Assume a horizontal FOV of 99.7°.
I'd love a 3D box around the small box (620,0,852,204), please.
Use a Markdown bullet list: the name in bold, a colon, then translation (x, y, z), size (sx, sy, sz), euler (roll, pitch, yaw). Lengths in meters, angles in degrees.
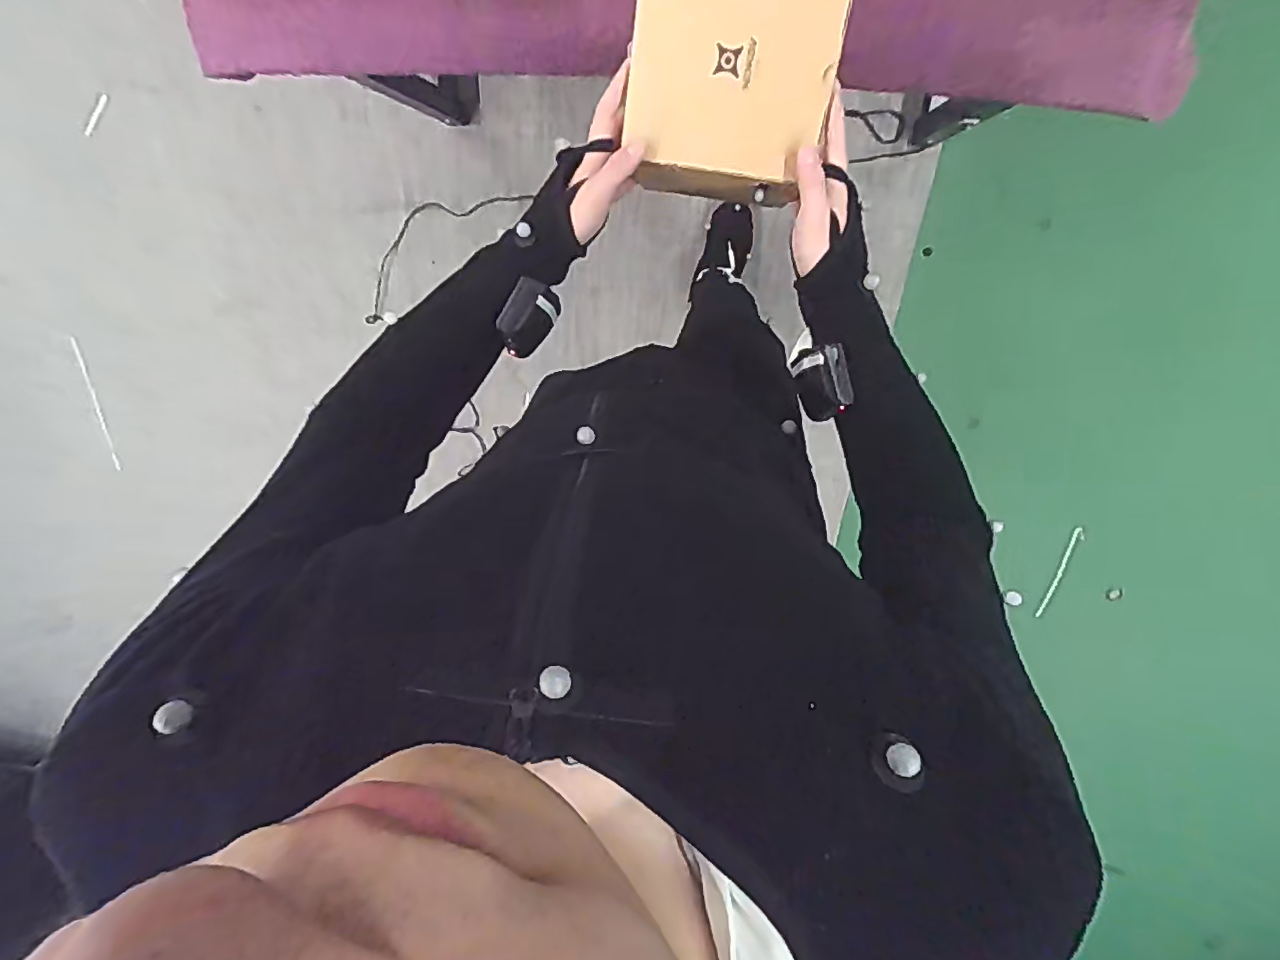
- **small box**: translation (0.085, -0.380, 0.527), size (0.179, 0.176, 0.168), euler (9, 110, 1)
